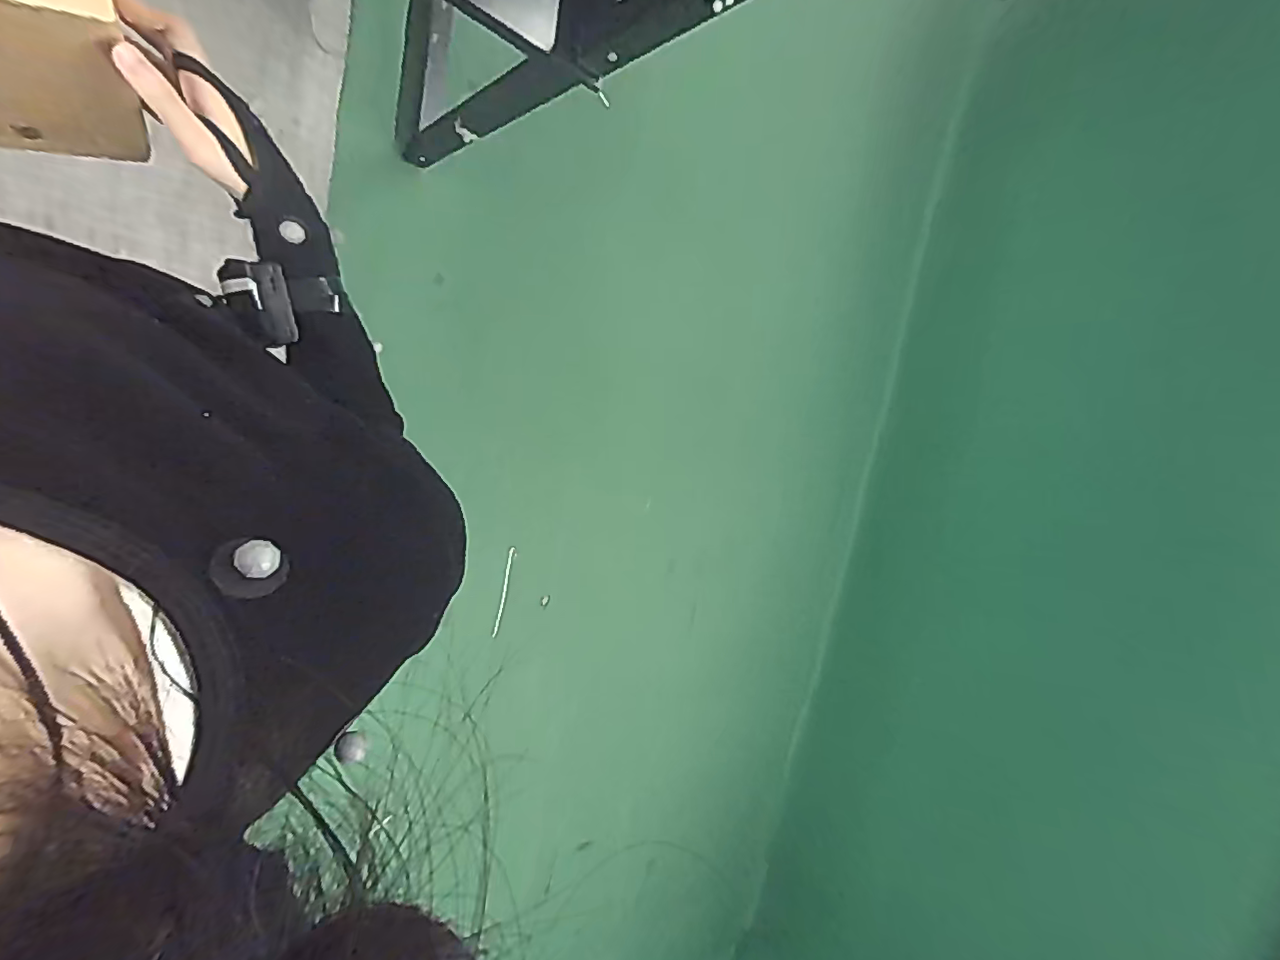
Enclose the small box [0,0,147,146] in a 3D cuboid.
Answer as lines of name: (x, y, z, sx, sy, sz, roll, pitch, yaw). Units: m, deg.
small box: (-0.400, -0.315, 0.290, 0.168, 0.176, 0.179, -15, 99, -37)
